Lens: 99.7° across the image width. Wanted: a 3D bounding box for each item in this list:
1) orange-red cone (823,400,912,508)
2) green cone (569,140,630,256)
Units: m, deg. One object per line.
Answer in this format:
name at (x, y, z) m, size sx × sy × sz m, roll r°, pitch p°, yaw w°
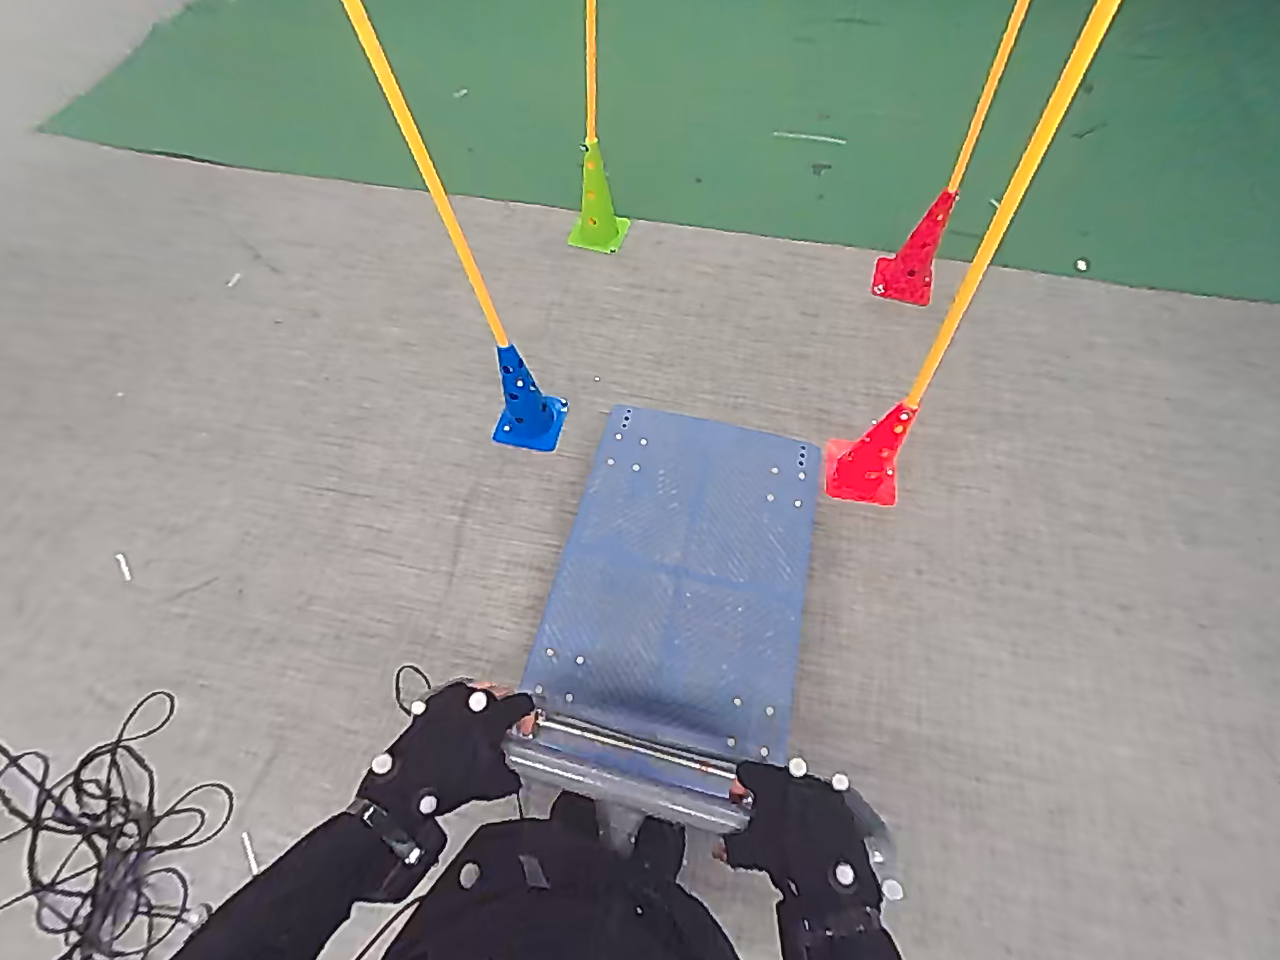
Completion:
orange-red cone at (0.642, -0.095, 1.458) m, size 0.199 × 0.360 × 0.198 m, roll 9°, pitch 63°, yaw 7°
green cone at (-0.160, -1.027, 1.937) m, size 0.202 × 0.368 × 0.200 m, roll 14°, pitch 64°, yaw 9°
